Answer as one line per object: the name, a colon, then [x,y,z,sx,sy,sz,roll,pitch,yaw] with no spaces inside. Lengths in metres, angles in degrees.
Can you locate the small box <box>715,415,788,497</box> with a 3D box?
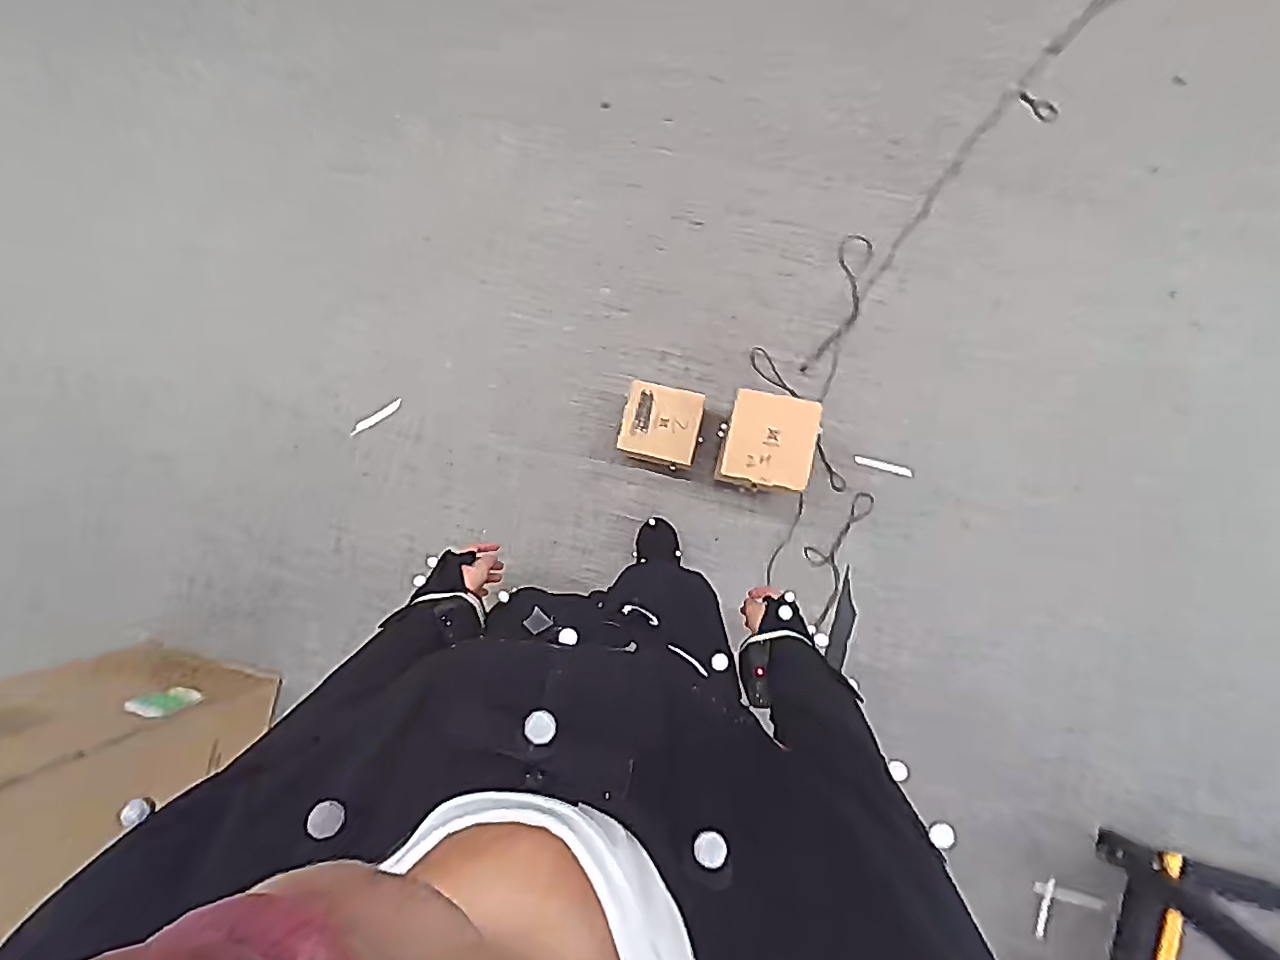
small box: [0.276,-0.064,1.275,0.168,0.176,0.179,14,89,6]

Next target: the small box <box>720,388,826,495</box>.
small box: [0.263,-0.071,1.111,0.168,0.176,0.179,13,89,6]
